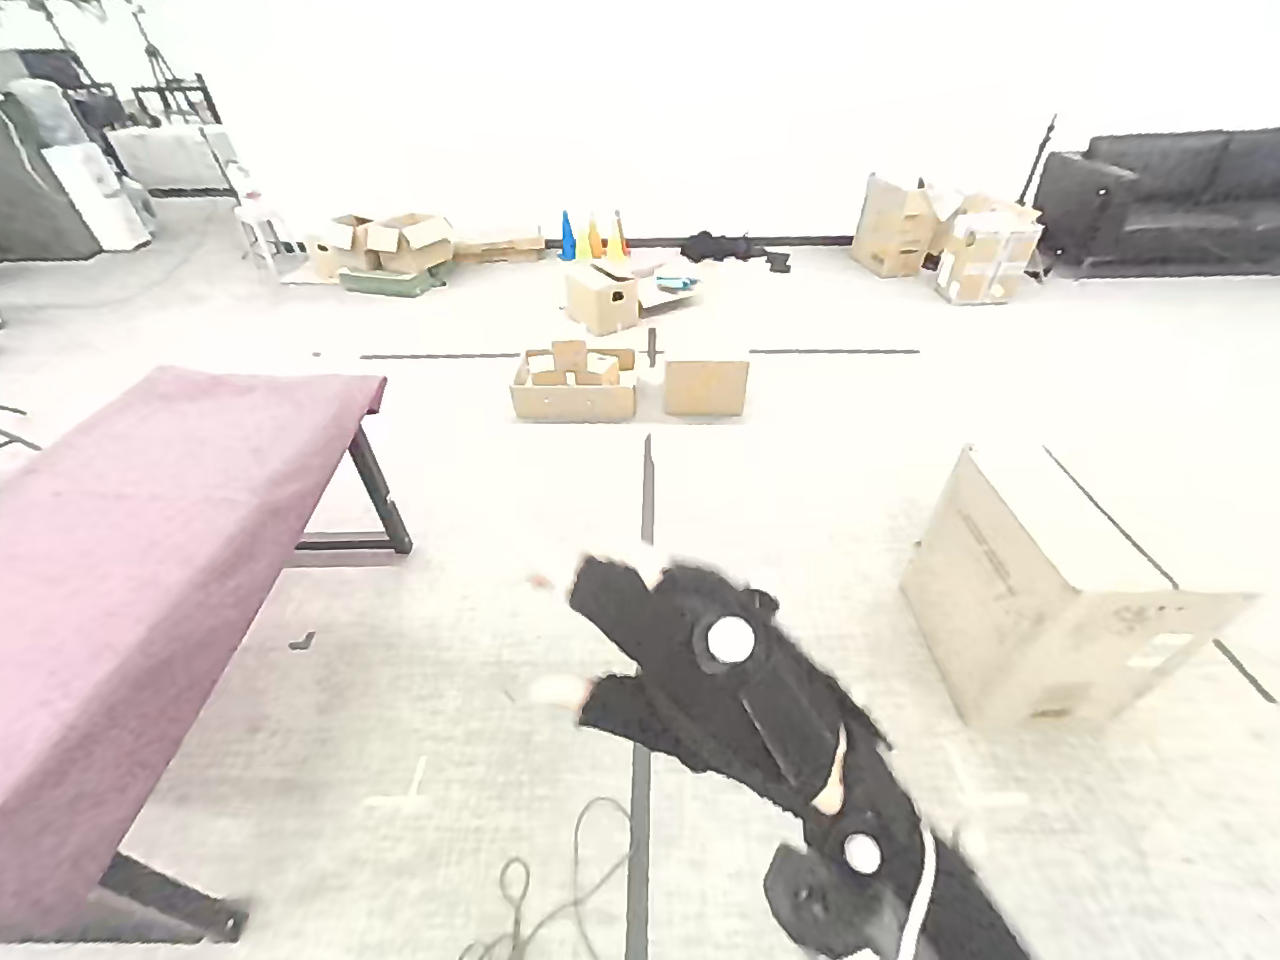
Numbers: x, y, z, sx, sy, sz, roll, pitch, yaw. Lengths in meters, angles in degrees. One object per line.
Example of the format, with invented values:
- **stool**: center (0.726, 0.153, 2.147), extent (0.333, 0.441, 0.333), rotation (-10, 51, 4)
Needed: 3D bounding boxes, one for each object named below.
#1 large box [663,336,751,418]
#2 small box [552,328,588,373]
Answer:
- **large box**: center (0.324, -0.525, 2.756), extent (0.408, 0.320, 0.320), rotation (1, 41, 1)
- **small box**: center (-0.346, -0.637, 2.676), extent (0.168, 0.176, 0.179), rotation (-4, 39, -5)
